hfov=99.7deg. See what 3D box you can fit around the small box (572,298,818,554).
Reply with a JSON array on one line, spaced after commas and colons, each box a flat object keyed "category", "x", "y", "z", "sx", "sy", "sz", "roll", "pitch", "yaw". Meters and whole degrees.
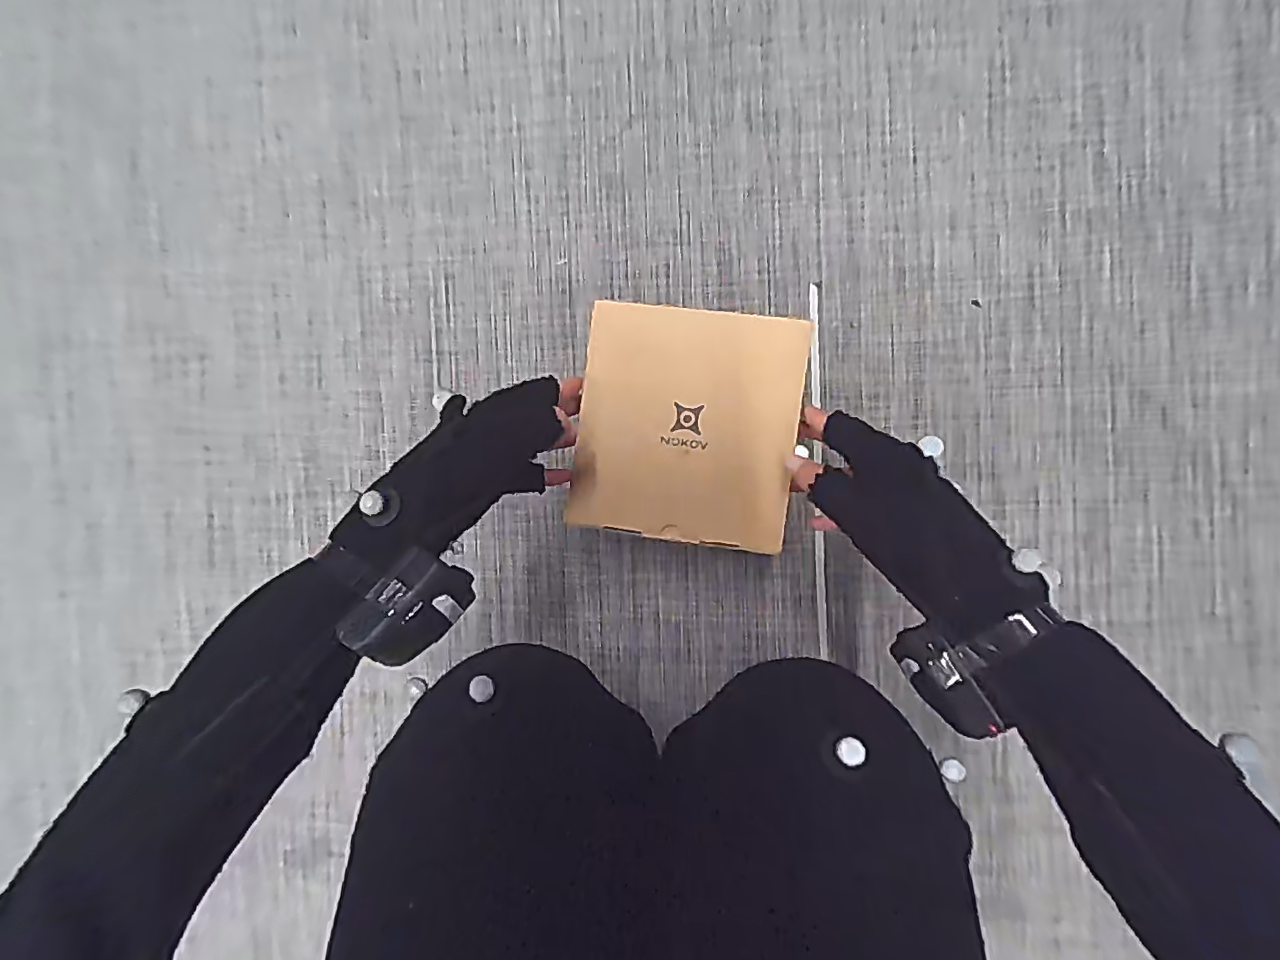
[{"category": "small box", "x": 0.047, "y": -0.043, "z": 0.483, "sx": 0.168, "sy": 0.176, "sz": 0.179, "roll": 8, "pitch": 92, "yaw": 6}]
